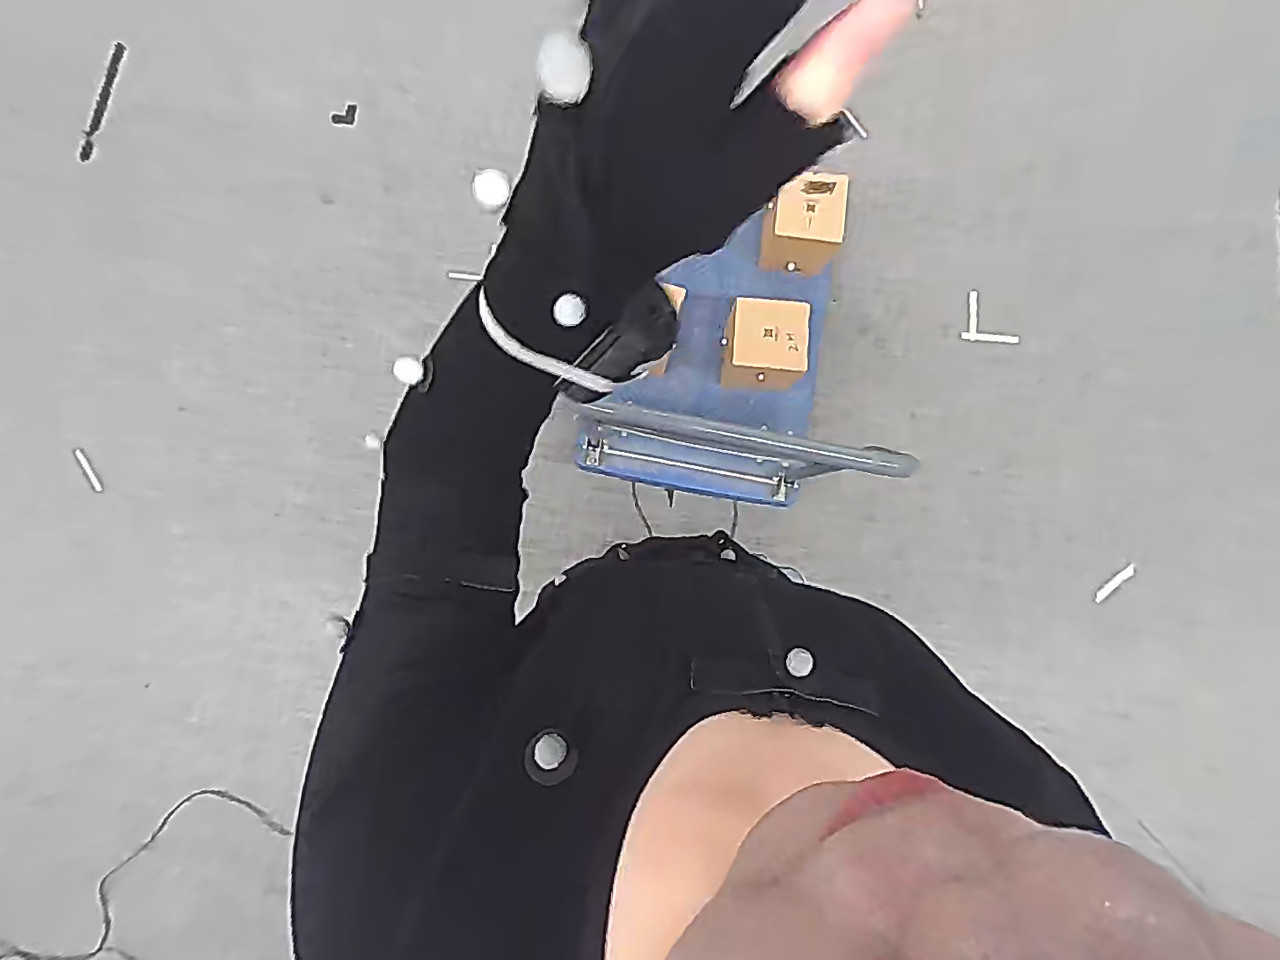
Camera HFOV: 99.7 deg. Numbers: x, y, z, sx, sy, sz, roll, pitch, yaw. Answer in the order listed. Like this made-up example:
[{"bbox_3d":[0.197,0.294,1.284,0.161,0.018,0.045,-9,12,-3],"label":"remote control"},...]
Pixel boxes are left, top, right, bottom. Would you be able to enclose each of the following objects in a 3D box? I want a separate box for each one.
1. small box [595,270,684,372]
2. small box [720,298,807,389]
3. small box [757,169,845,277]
[{"bbox_3d":[-0.004,-0.383,1.335,0.179,0.176,0.168,16,82,-1],"label":"small box"},{"bbox_3d":[0.297,-0.330,1.335,0.179,0.176,0.168,5,83,-1],"label":"small box"},{"bbox_3d":[0.403,-0.649,1.376,0.168,0.176,0.179,7,84,0],"label":"small box"}]
